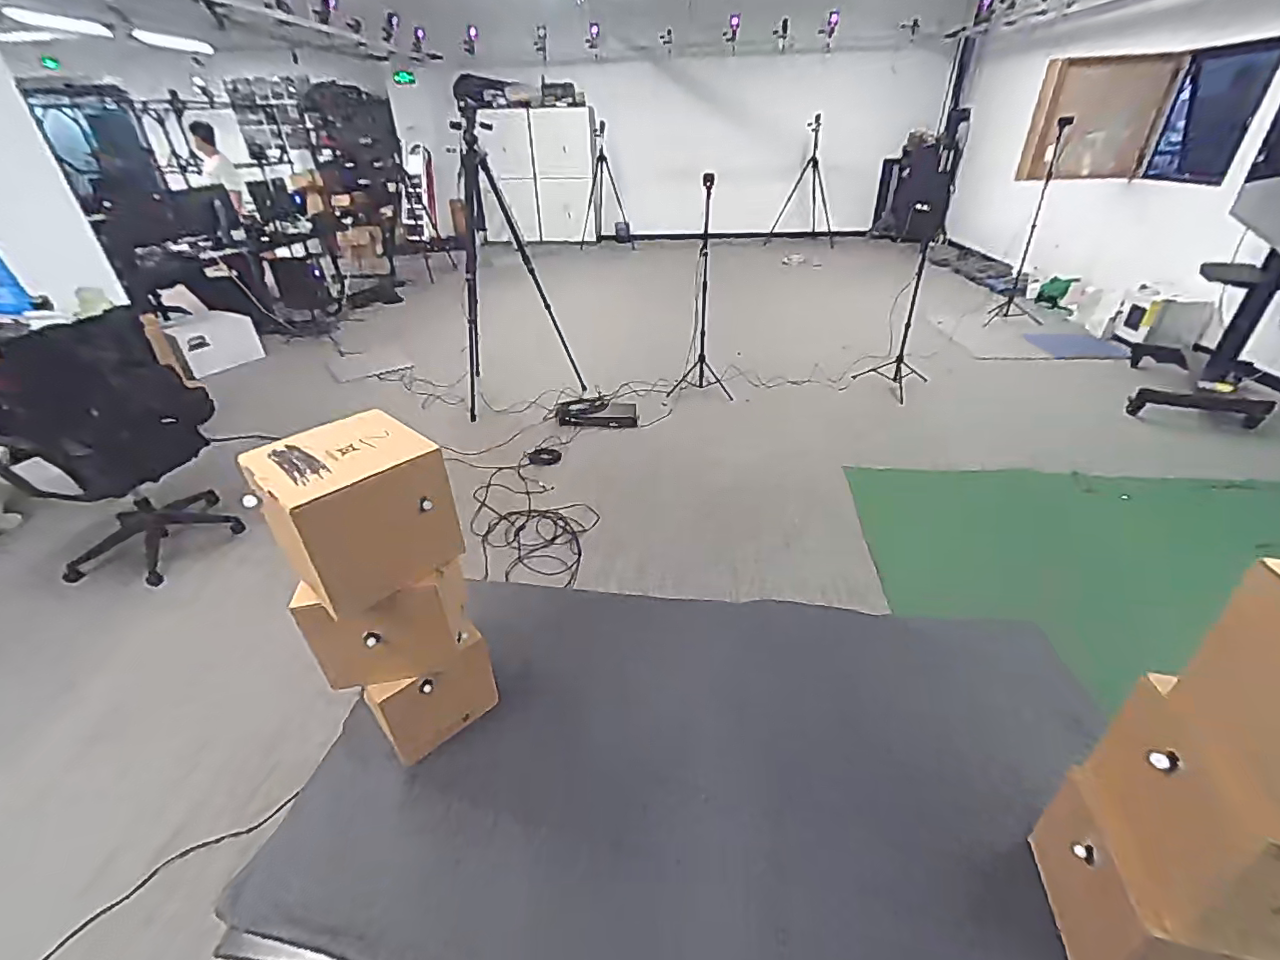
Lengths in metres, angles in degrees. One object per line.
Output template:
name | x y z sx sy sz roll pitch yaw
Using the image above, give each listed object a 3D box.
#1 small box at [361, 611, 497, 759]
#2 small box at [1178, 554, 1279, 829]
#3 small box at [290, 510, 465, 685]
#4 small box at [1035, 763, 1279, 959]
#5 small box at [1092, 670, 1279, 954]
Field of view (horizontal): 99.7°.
small box | -0.355 0.304 0.878 0.168 0.176 0.179 -28 42 -34
small box | 0.578 0.181 0.404 0.168 0.176 0.179 6 29 13
small box | -0.360 0.168 0.784 0.179 0.176 0.168 -8 34 -9
small box | 0.570 0.454 0.588 0.168 0.176 0.179 5 31 14
small box | 0.580 0.313 0.506 0.168 0.176 0.179 5 29 12
